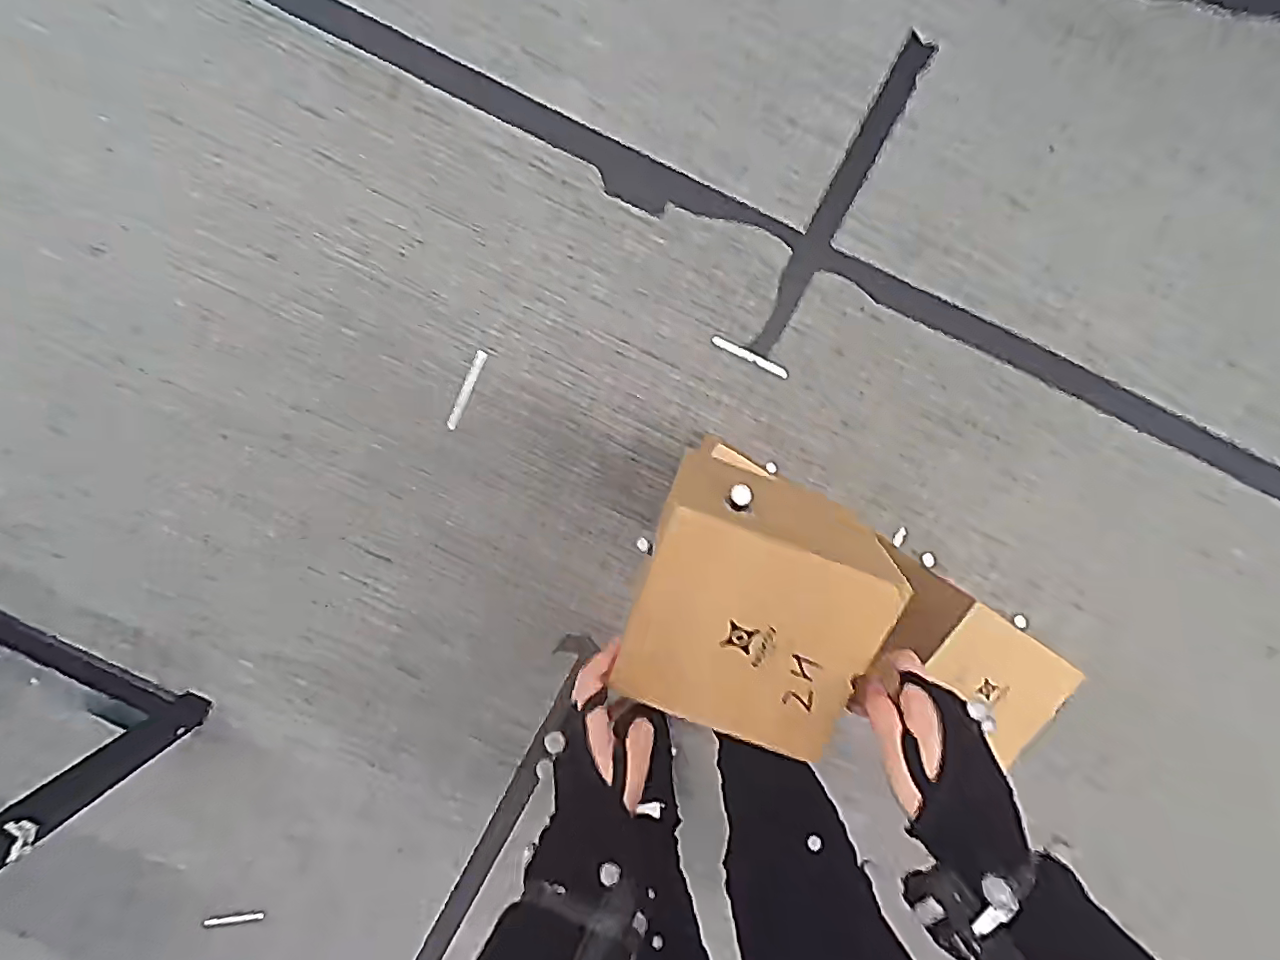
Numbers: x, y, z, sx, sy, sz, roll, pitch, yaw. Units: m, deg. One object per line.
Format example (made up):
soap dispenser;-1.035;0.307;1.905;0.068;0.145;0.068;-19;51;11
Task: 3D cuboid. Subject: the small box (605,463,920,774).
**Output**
small box;0.089;0.098;0.460;0.179;0.176;0.168;20;109;1

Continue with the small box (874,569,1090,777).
small box;0.430;0.247;0.735;0.179;0.176;0.168;35;98;-4

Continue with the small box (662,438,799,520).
small box;0.150;0.046;0.874;0.179;0.176;0.168;32;100;-4
